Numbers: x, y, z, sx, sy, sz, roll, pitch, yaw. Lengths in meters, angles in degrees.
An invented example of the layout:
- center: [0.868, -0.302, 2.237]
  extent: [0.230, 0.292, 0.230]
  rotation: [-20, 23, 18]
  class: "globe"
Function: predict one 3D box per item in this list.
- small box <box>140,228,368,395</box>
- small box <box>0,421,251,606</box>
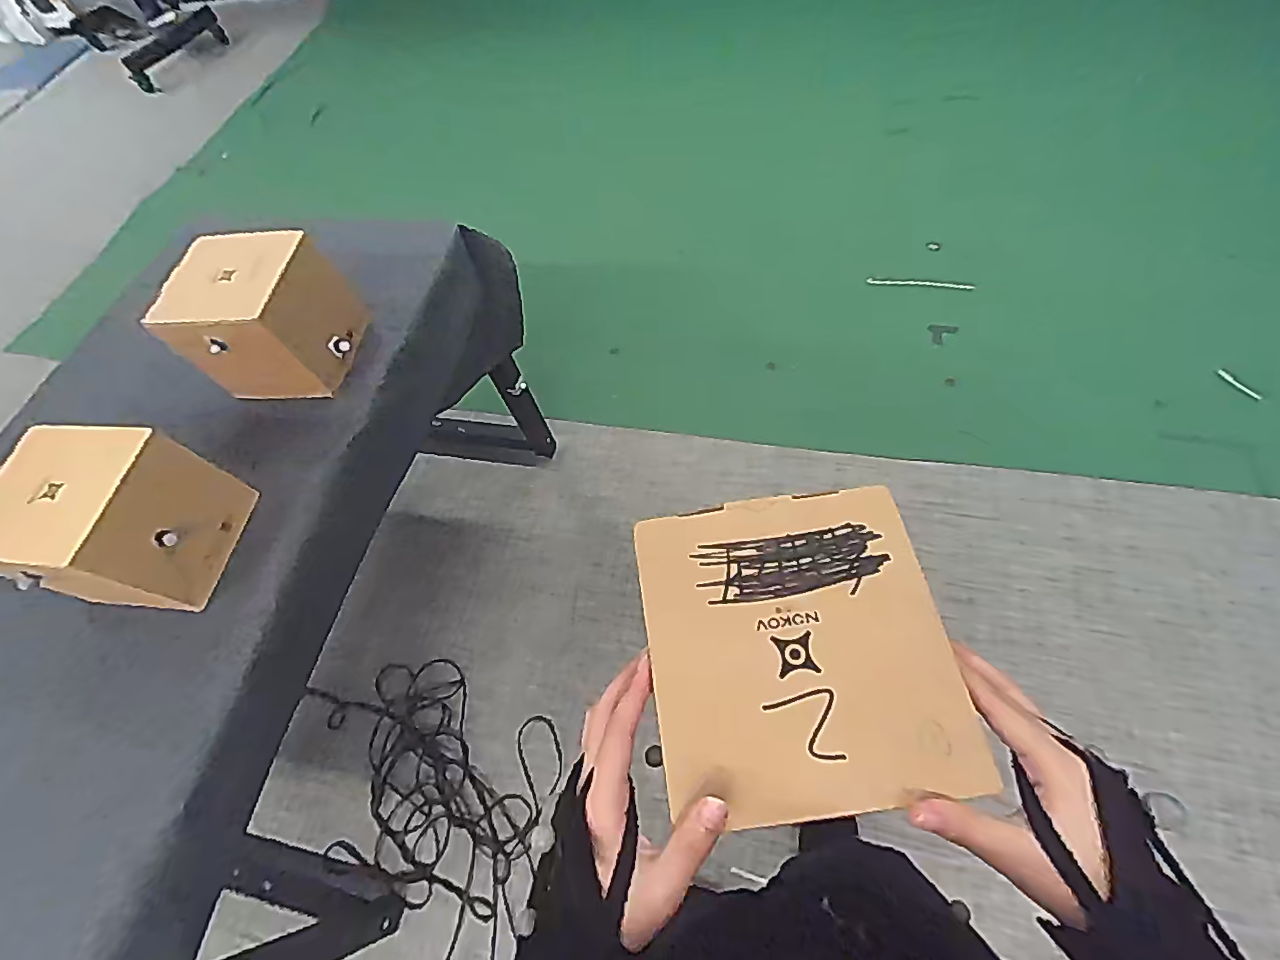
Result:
- center: [-0.540, -0.236, 0.785]
  extent: [0.179, 0.176, 0.168]
  rotation: [1, 63, 8]
  class: "small box"
- center: [-0.622, 0.046, 0.645]
  extent: [0.179, 0.176, 0.168]
  rotation: [2, 62, 10]
  class: "small box"
